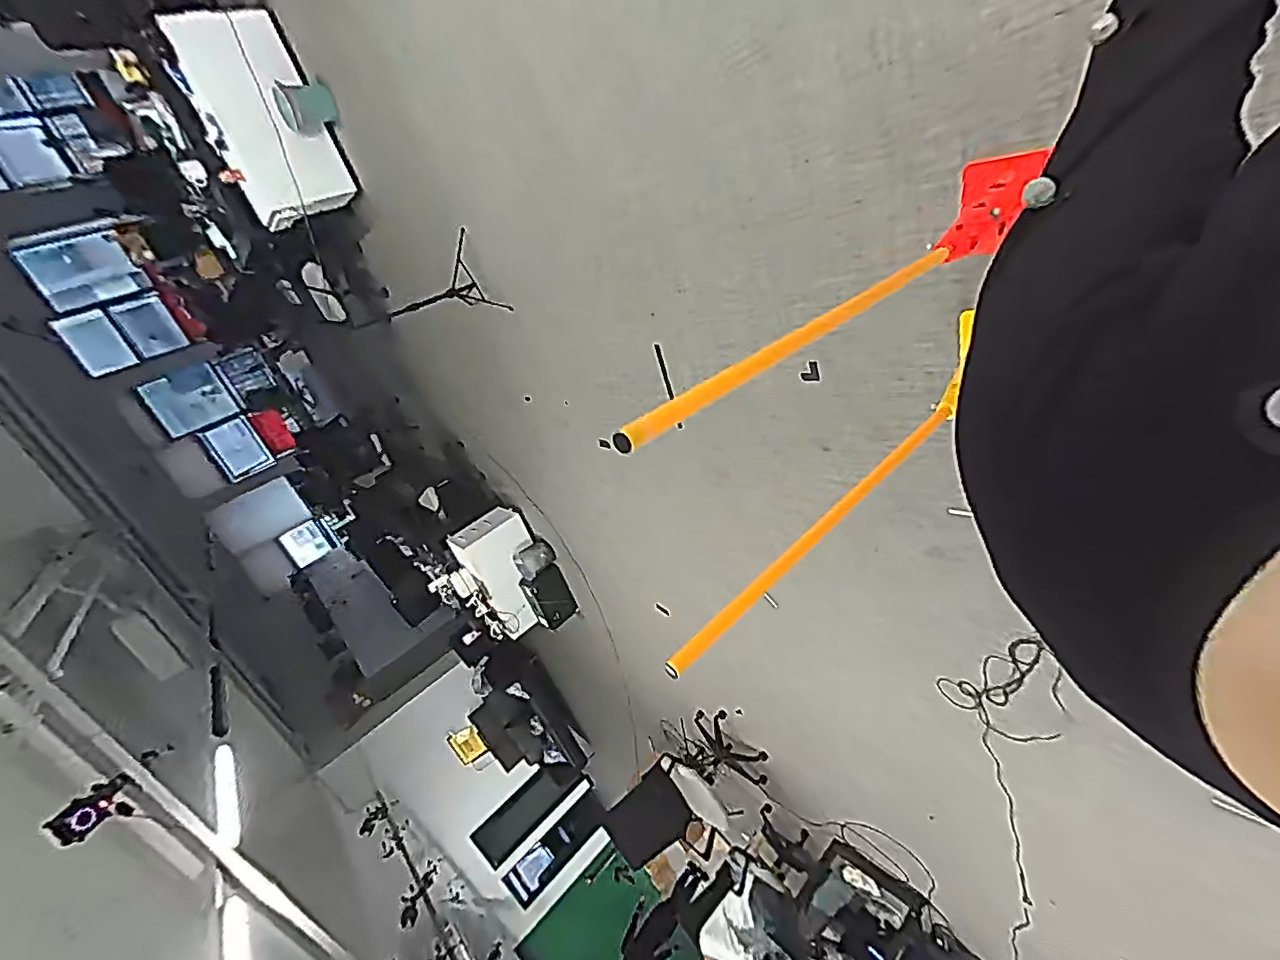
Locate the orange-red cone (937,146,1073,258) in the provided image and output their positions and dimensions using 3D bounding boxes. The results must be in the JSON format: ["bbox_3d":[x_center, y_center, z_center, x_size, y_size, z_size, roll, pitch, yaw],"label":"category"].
[{"bbox_3d":[0.692,-0.519,1.092,0.198,0.360,0.199,20,134,44],"label":"orange-red cone"}]
